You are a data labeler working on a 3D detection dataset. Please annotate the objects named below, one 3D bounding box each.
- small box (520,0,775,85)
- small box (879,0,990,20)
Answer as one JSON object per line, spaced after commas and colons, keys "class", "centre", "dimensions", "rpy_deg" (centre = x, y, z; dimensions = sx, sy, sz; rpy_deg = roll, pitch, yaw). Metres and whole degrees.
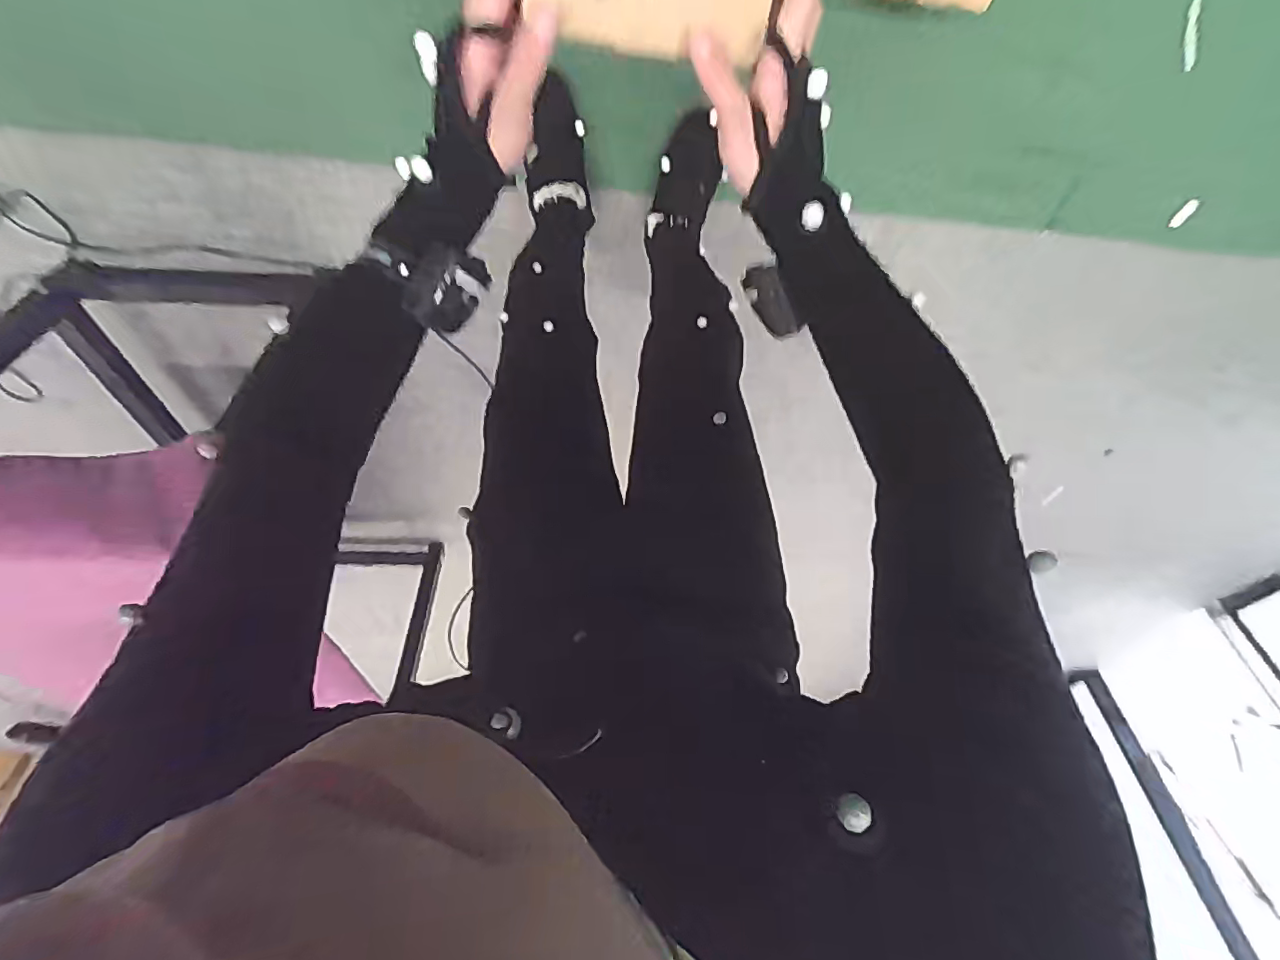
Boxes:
{"class": "small box", "centre": [0.002, -0.401, 0.368], "dimensions": [0.168, 0.176, 0.179], "rpy_deg": [-1, 134, -14]}
{"class": "small box", "centre": [0.408, -0.770, 0.737], "dimensions": [0.168, 0.176, 0.179], "rpy_deg": [3, 141, -7]}
